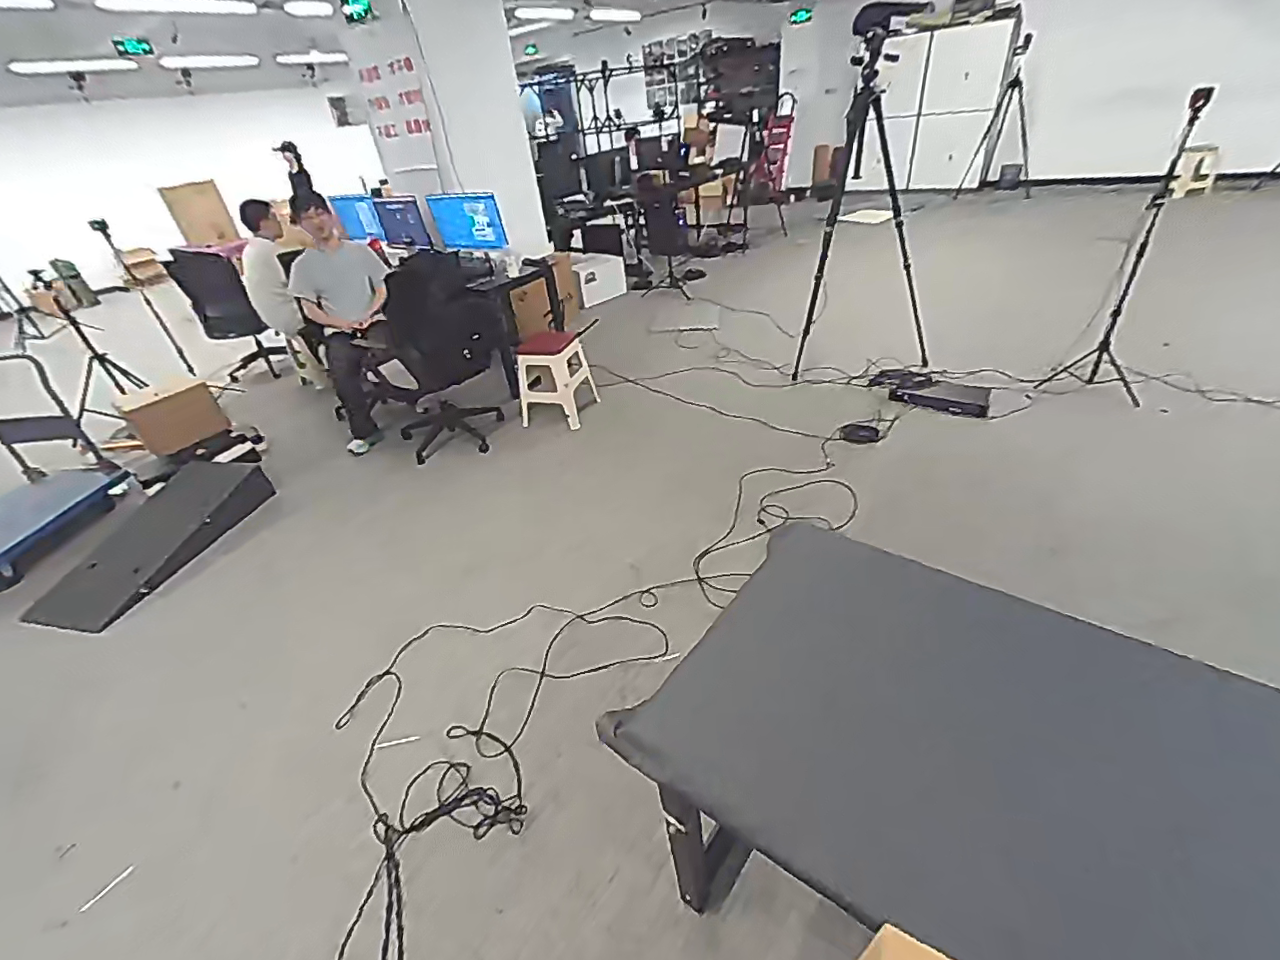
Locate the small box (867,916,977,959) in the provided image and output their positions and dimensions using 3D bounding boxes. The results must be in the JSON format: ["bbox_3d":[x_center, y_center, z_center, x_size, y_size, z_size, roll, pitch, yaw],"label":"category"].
[{"bbox_3d":[0.211,0.445,0.346,0.168,0.176,0.179,17,41,24],"label":"small box"}]
